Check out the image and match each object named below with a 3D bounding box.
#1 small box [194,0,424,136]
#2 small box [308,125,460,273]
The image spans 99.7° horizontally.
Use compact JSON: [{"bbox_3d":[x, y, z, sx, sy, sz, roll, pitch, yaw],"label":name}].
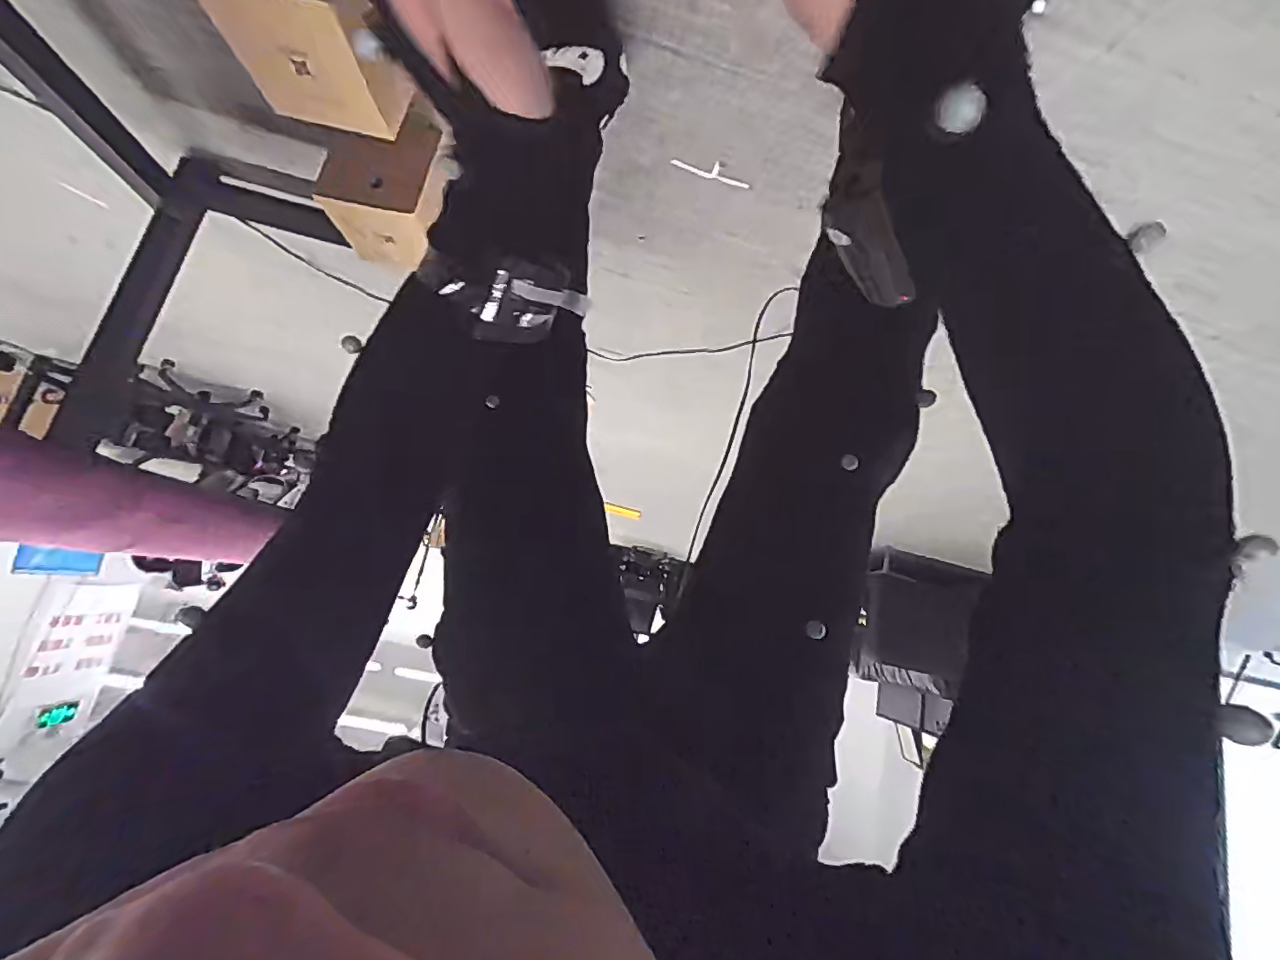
[{"bbox_3d":[-0.381,-0.561,0.638,0.168,0.176,0.179,13,167,-1],"label":"small box"},{"bbox_3d":[-0.429,-0.495,0.945,0.179,0.176,0.168,12,167,1],"label":"small box"}]
